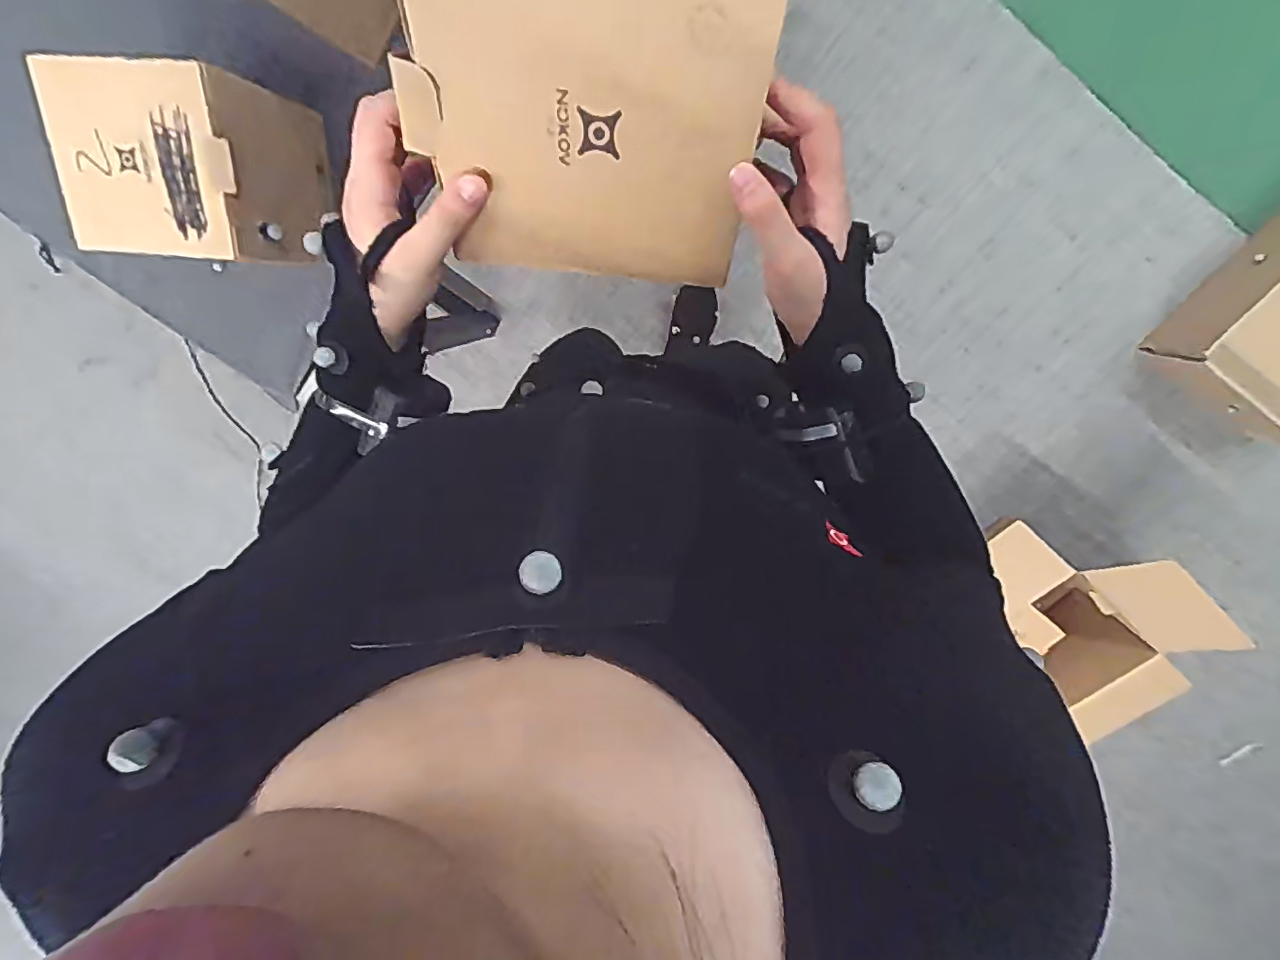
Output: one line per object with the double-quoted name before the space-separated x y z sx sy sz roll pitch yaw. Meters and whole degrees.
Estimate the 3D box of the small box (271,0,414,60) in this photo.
"small box" -0.321 -0.544 0.498 0.179 0.176 0.168 39 110 -7
